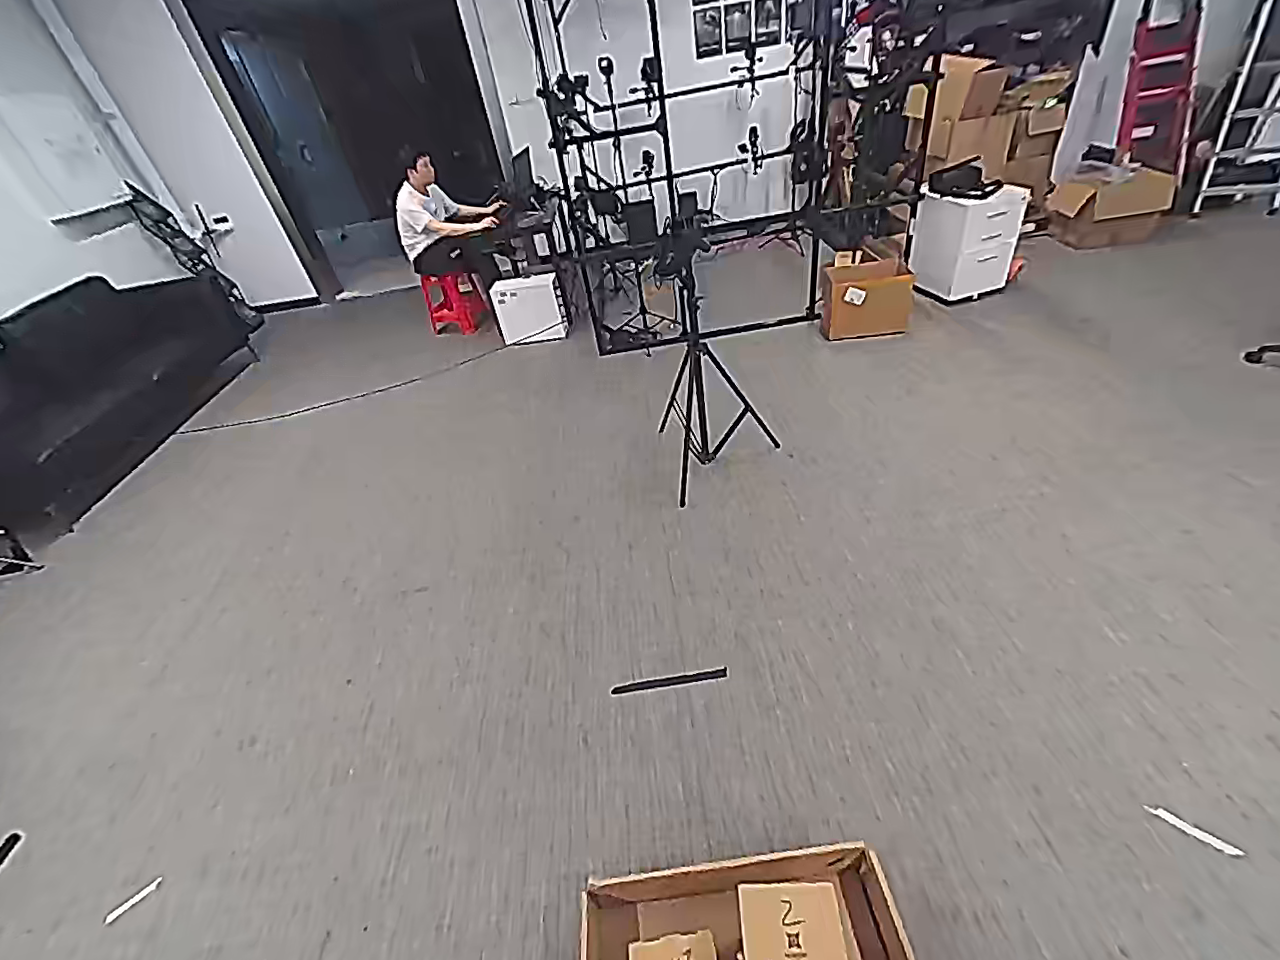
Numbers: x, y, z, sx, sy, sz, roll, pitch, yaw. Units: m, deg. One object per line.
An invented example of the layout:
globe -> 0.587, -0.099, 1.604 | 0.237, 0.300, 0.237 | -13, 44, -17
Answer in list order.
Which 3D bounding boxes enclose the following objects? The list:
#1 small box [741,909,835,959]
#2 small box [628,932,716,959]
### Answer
small box -> 0.287, 0.949, 1.029 | 0.168, 0.176, 0.179 | -8, 39, 7
small box -> 0.074, 0.992, 1.017 | 0.168, 0.176, 0.179 | -9, 38, -1
